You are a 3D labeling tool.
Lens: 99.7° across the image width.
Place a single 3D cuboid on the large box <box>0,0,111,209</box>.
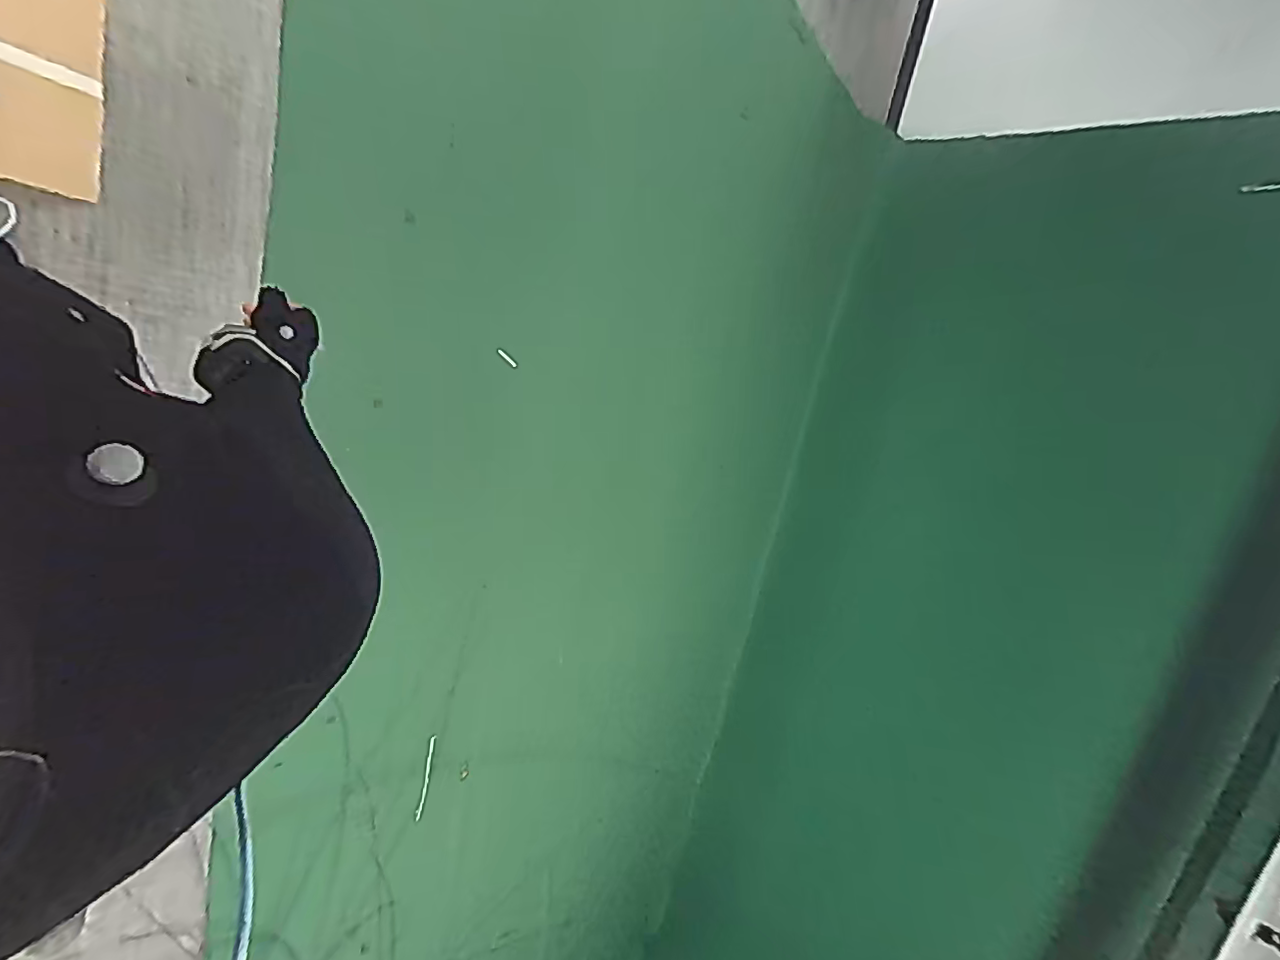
[{"bbox_3d":[-1.015,-0.598,0.720,0.408,0.320,0.320,-1,107,-52],"label":"large box"}]
